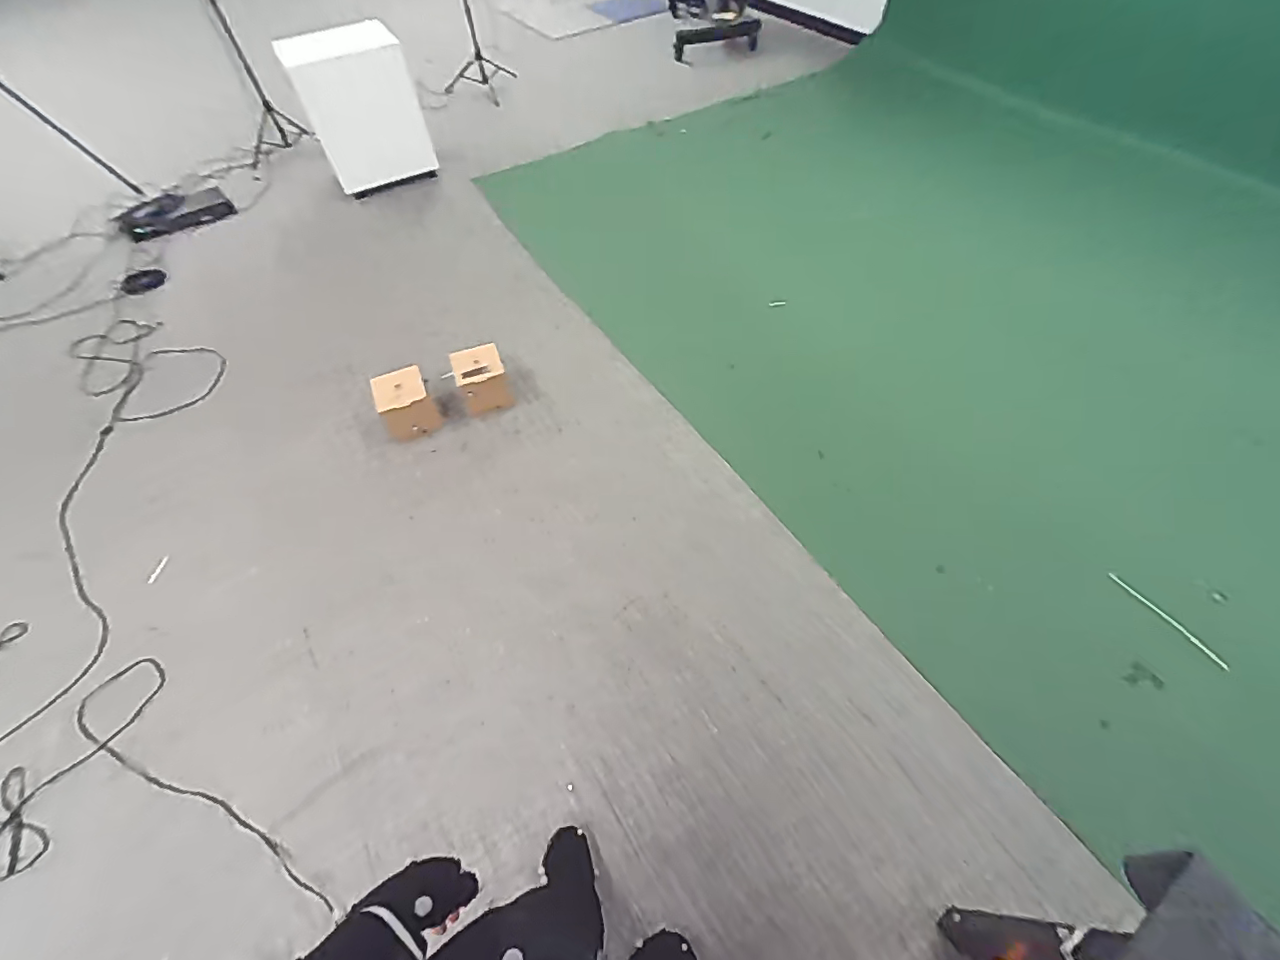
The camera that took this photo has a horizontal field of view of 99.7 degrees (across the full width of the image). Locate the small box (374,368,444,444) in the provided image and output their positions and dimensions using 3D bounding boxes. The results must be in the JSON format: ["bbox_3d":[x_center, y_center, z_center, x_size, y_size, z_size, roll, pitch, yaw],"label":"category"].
[{"bbox_3d":[-0.807,-0.257,1.897,0.168,0.176,0.179,-21,57,-12],"label":"small box"}]
